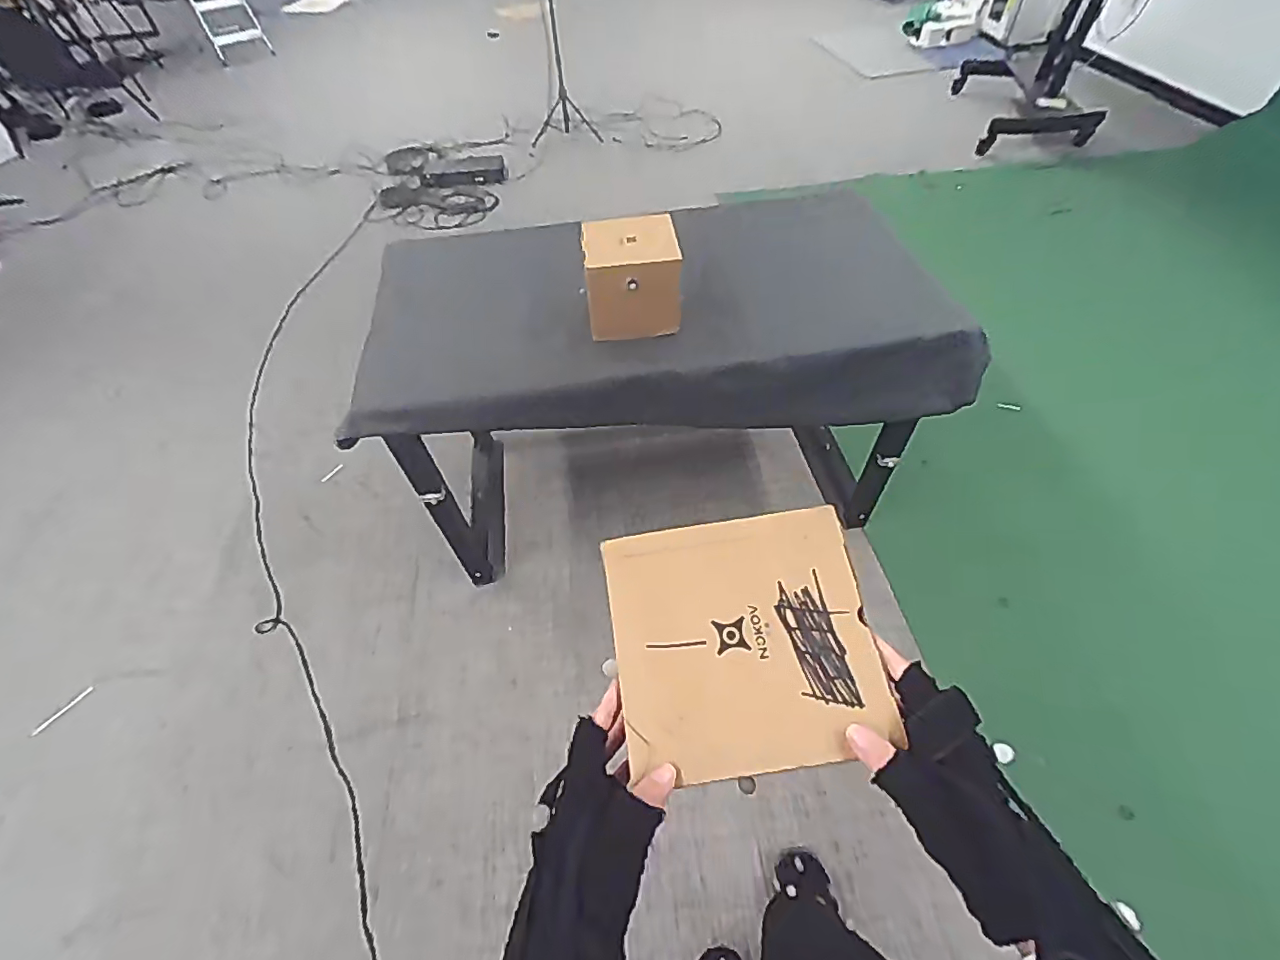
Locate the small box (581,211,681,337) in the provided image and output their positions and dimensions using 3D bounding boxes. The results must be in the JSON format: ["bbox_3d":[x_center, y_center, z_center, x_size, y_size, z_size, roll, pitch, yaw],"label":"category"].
[{"bbox_3d":[-0.016,-0.400,1.064,0.179,0.176,0.168,-7,54,-2],"label":"small box"}]

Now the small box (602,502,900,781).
[{"bbox_3d":[0.071,0.134,0.441,0.179,0.176,0.168,-9,65,-1],"label":"small box"}]
